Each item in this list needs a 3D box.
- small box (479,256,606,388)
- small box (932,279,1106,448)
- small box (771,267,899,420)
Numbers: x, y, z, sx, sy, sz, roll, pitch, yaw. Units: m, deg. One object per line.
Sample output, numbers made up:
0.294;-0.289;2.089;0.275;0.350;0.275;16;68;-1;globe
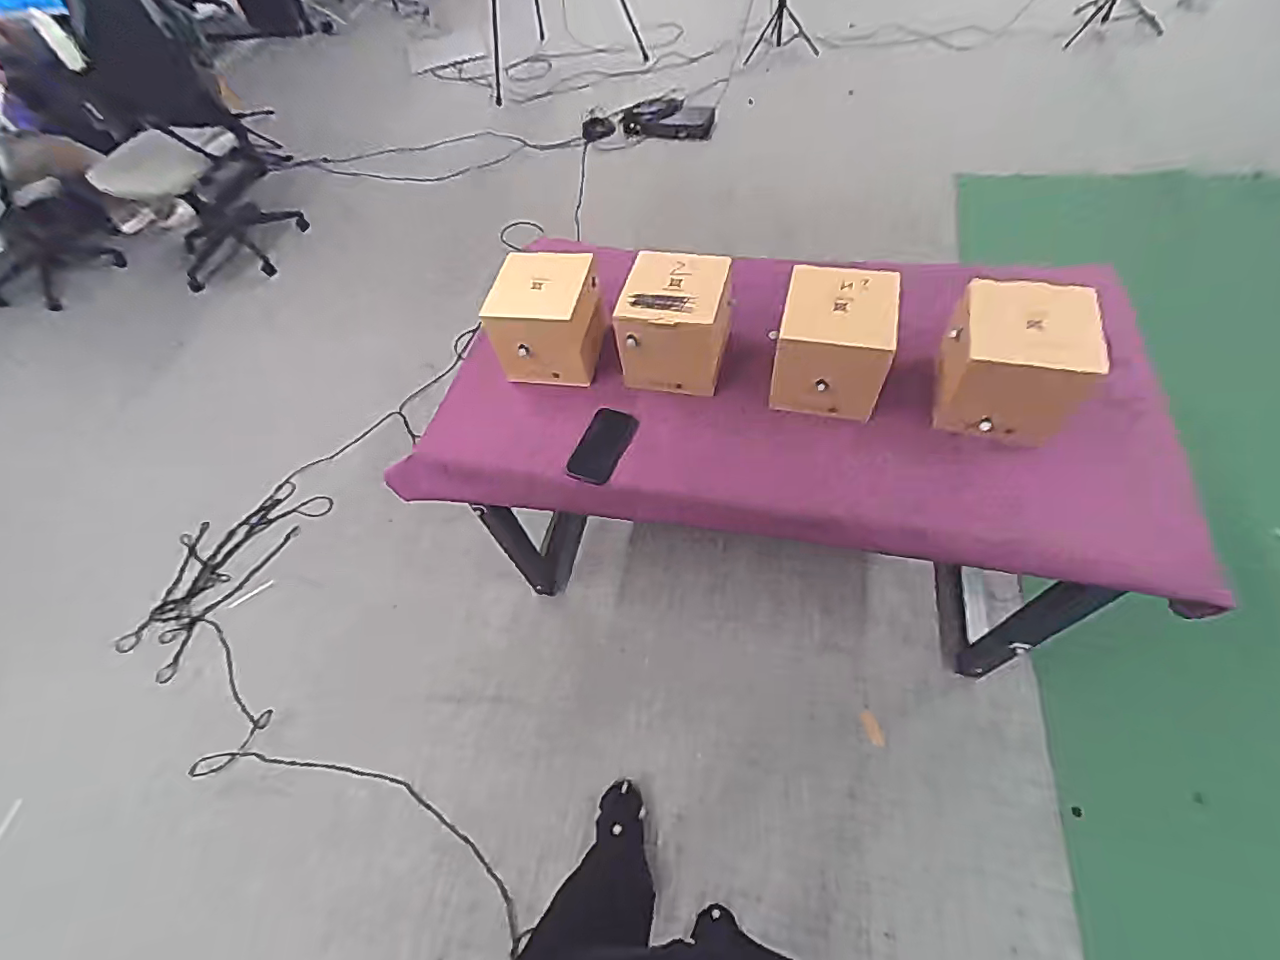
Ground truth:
-0.168;-0.290;1.005;0.168;0.176;0.179;5;57;11;small box
0.564;-0.177;0.831;0.168;0.176;0.179;11;59;16;small box
0.315;-0.221;0.892;0.168;0.176;0.179;11;59;14;small box
